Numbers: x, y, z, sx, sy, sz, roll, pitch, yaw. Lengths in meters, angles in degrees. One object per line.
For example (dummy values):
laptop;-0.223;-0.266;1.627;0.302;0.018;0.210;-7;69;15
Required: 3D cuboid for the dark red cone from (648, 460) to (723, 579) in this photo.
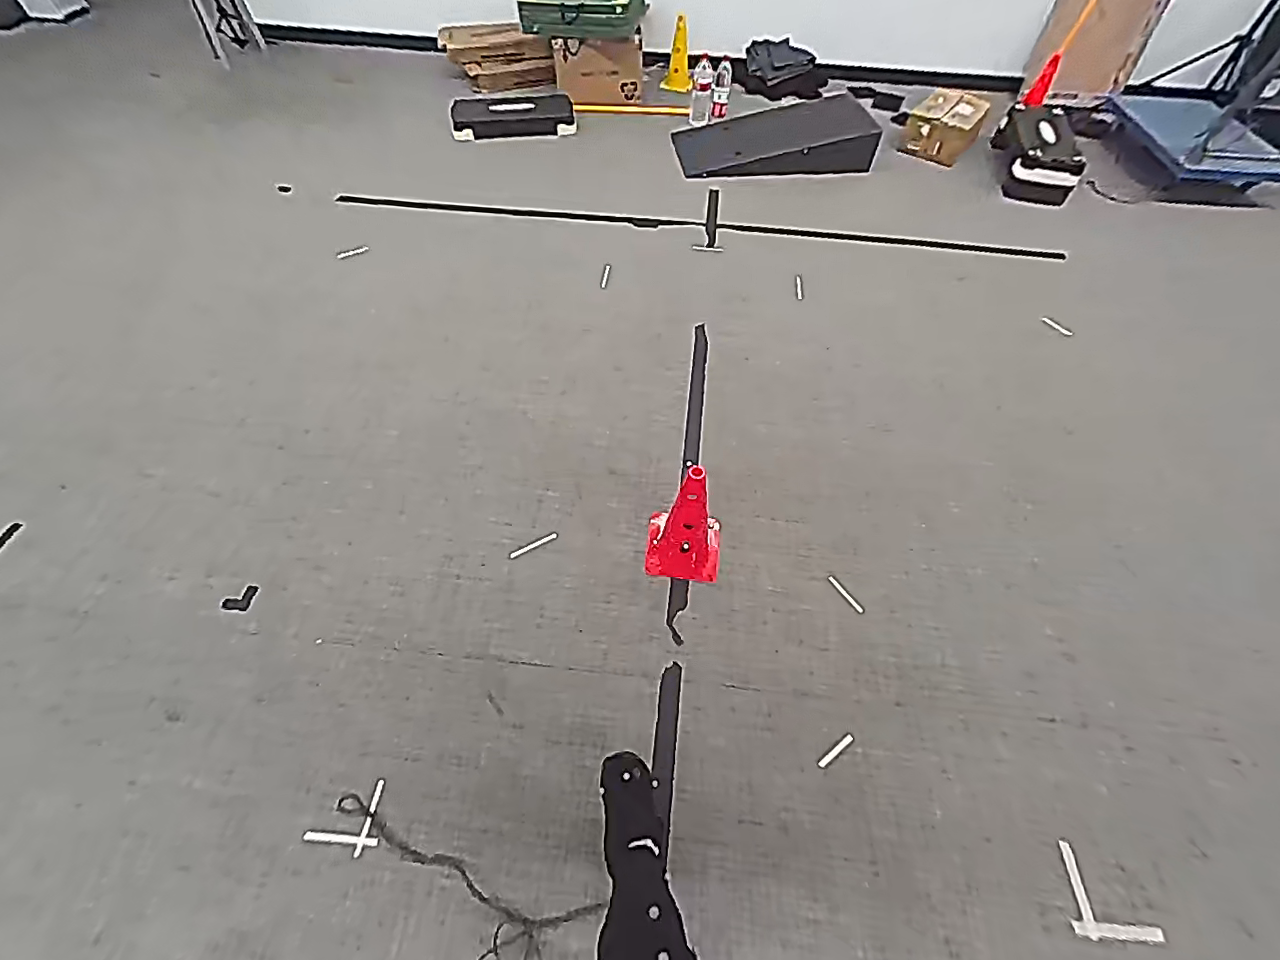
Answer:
dark red cone;0.127;0.079;1.352;0.201;0.394;0.202;5;55;3
